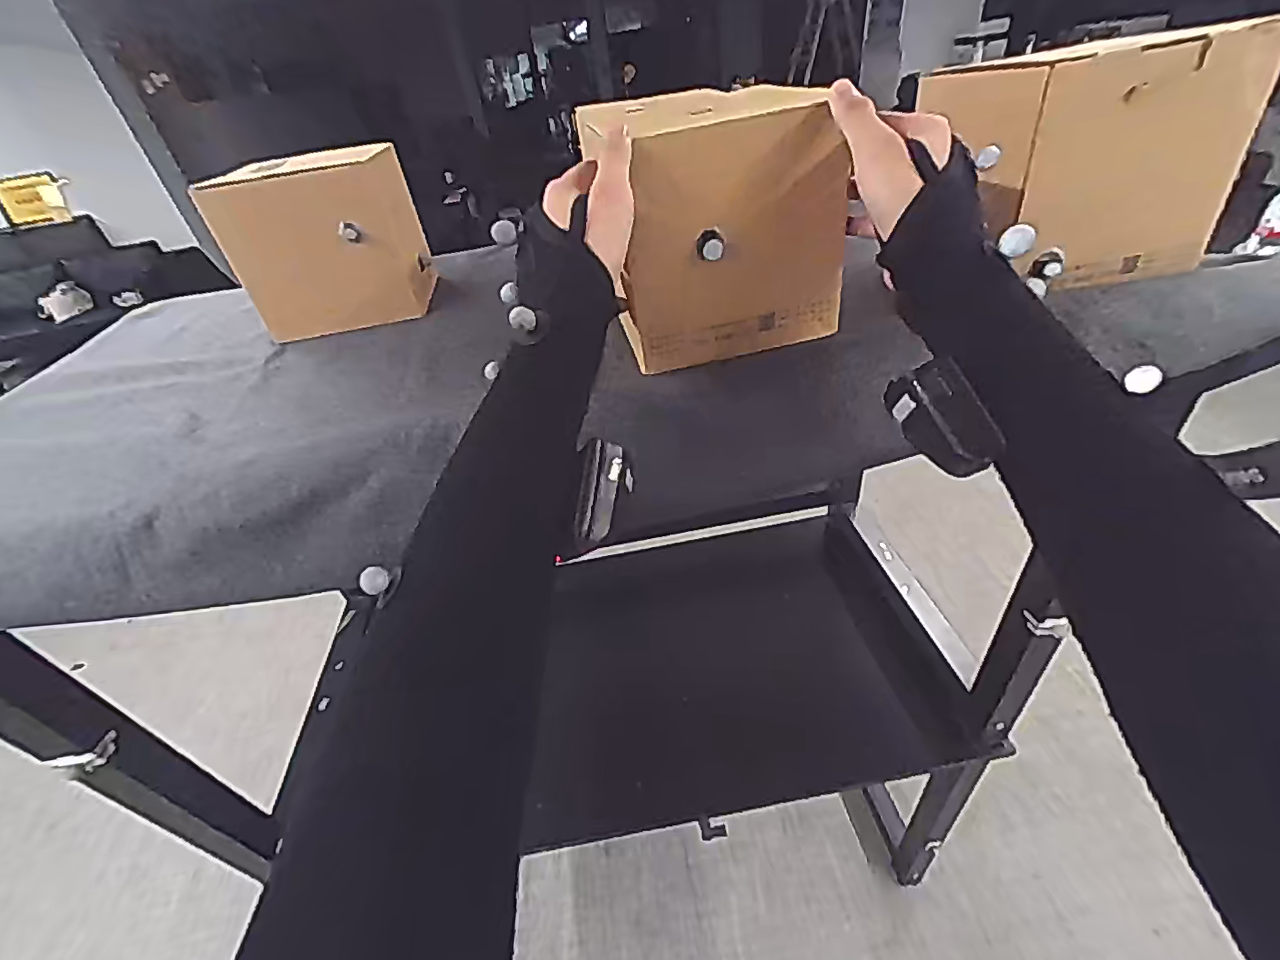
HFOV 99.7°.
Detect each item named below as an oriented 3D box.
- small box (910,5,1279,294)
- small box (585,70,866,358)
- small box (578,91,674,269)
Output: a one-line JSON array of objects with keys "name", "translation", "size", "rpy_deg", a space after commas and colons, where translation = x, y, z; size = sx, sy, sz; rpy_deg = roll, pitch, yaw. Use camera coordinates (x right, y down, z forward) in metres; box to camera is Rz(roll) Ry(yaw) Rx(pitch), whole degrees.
[{"name": "small box", "translation": [0.355, -0.267, 0.456], "size": [0.168, 0.176, 0.179], "rpy_deg": [-10, 34, 1]}, {"name": "small box", "translation": [0.059, -0.212, 0.440], "size": [0.168, 0.176, 0.179], "rpy_deg": [-13, 38, -3]}, {"name": "small box", "translation": [0.021, -0.373, 0.671], "size": [0.168, 0.176, 0.179], "rpy_deg": [-11, 37, -2]}]
